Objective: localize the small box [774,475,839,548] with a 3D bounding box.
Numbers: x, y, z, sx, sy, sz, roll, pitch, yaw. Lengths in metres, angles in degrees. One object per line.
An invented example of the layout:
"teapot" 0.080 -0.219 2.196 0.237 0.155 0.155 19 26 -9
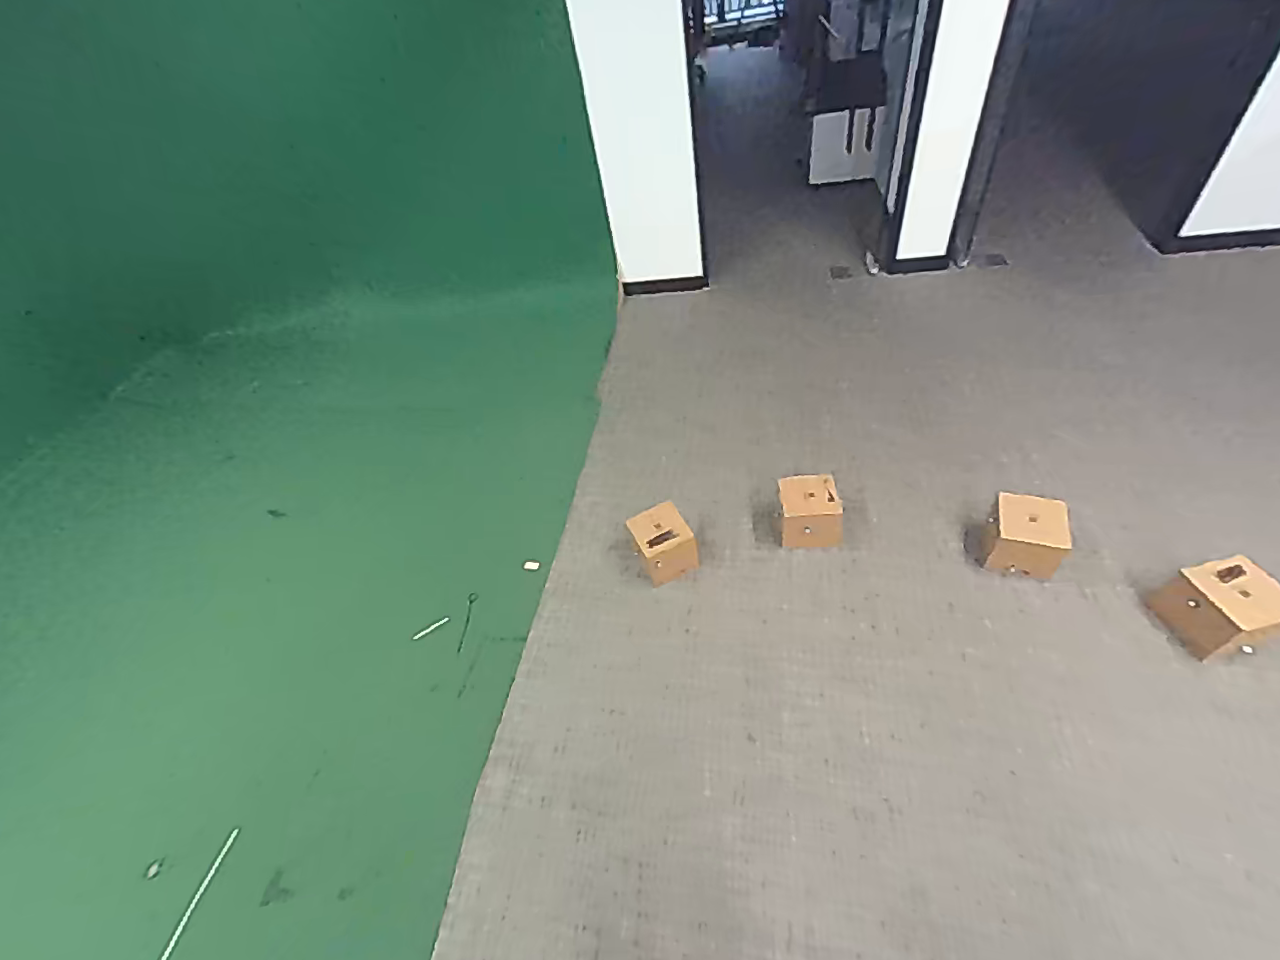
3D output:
"small box" 0.537 0.106 1.755 0.179 0.176 0.168 -6 47 9

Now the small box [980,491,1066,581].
"small box" 1.106 0.163 1.576 0.168 0.176 0.179 10 50 22

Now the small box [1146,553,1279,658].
"small box" 1.446 0.316 1.354 0.168 0.176 0.179 -14 46 0
